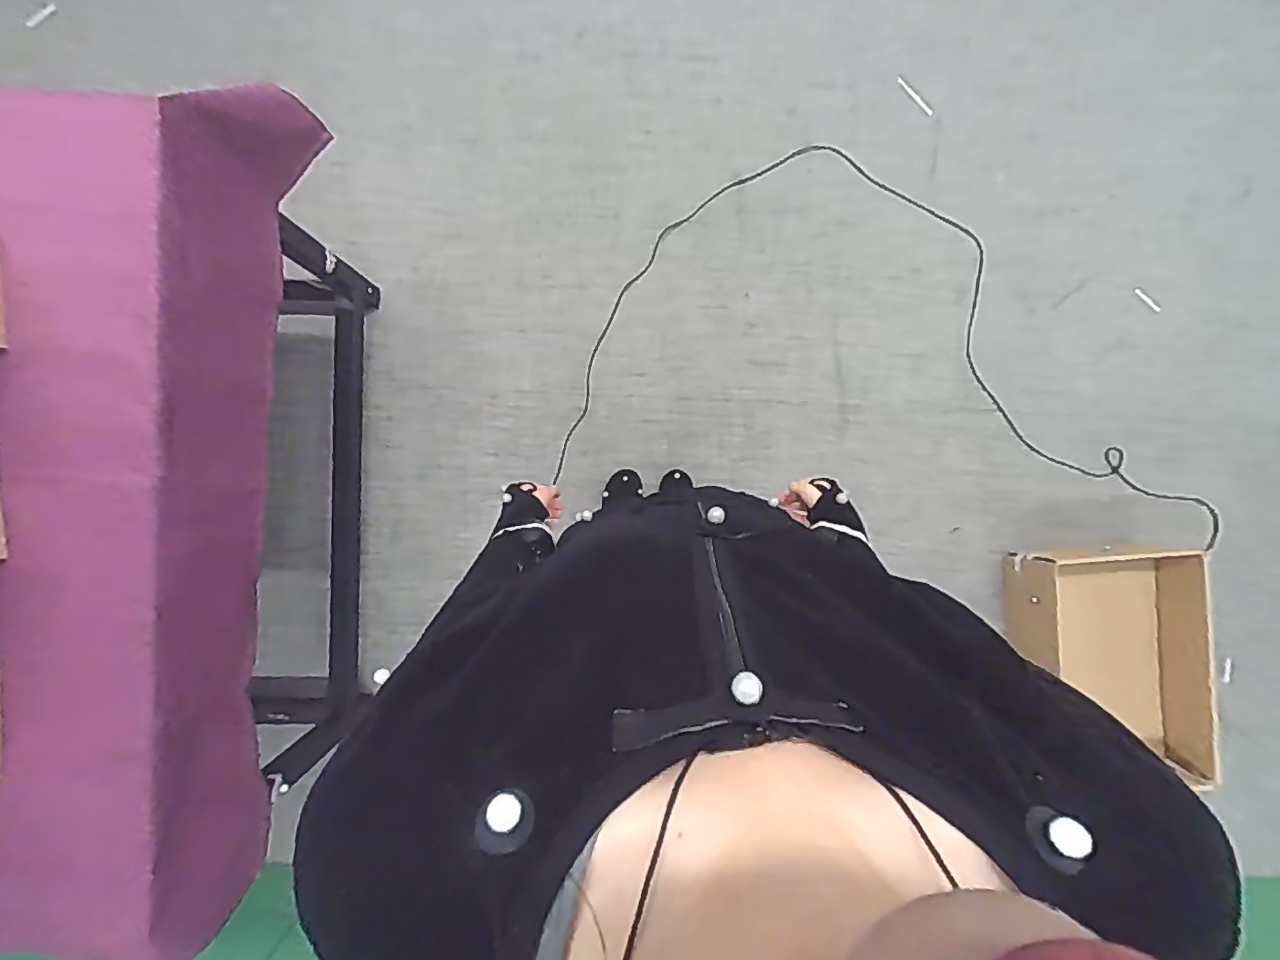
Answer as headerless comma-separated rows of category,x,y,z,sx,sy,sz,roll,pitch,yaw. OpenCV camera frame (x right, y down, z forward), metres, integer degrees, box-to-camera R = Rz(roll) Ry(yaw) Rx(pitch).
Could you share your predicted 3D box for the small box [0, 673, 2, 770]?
small box,-0.985,0.334,0.688,0.168,0.176,0.179,-1,91,-1
